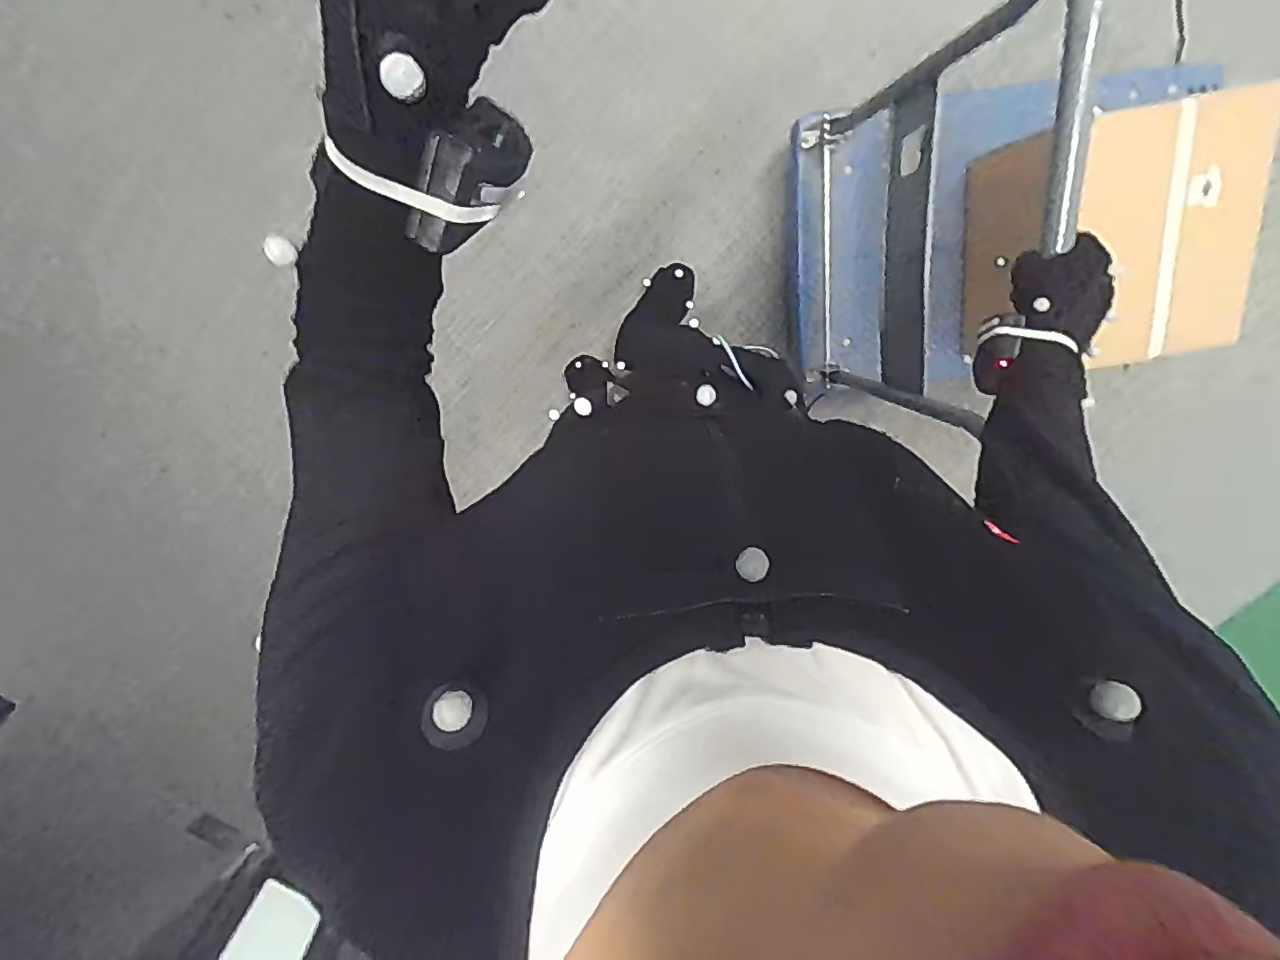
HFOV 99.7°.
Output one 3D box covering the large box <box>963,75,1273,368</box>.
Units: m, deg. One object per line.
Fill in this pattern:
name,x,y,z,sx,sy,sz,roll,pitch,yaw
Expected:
large box,0.858,-0.456,1.037,0.320,0.320,0.408,-10,108,2
